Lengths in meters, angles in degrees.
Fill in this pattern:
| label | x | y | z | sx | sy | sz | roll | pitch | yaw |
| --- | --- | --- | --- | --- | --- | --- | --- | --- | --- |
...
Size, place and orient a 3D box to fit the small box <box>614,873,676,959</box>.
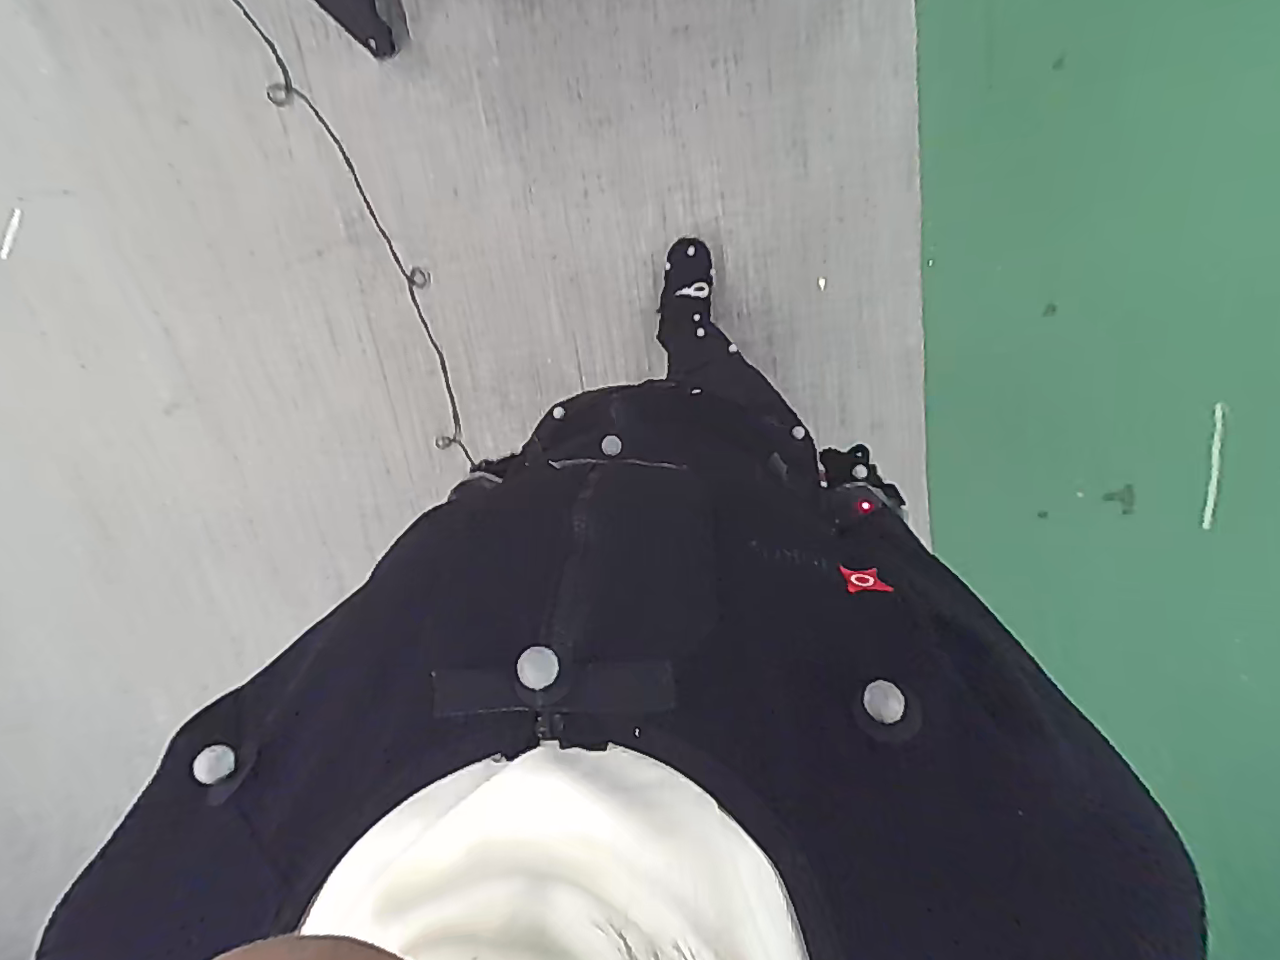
| label | x | y | z | sx | sy | sz | roll | pitch | yaw |
| --- | --- | --- | --- | --- | --- | --- | --- | --- | --- |
| small box | 0.021 | 1.389 | 1.720 | 0.179 | 0.176 | 0.168 | -5 | 104 | 7 |
